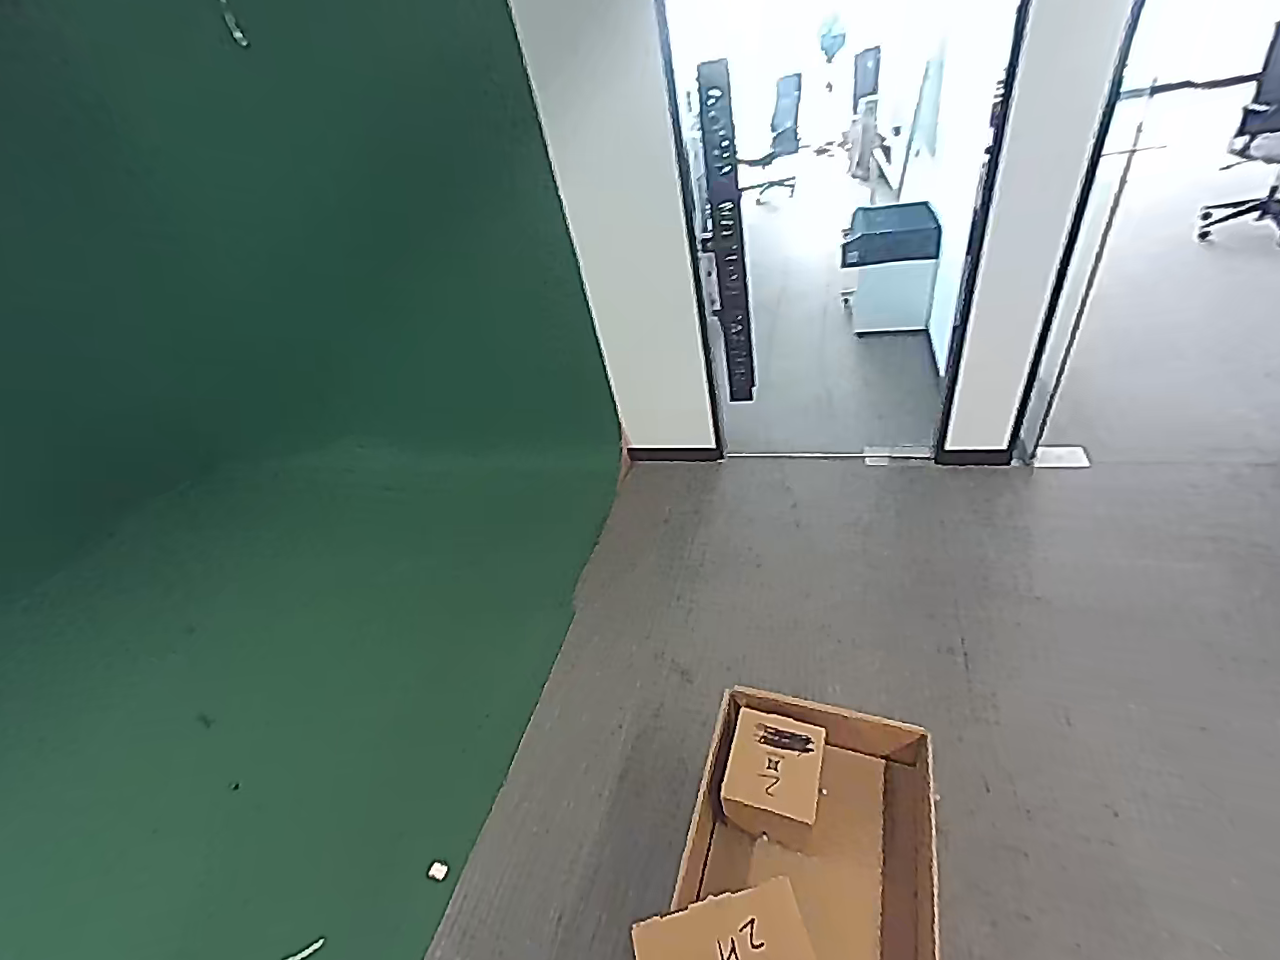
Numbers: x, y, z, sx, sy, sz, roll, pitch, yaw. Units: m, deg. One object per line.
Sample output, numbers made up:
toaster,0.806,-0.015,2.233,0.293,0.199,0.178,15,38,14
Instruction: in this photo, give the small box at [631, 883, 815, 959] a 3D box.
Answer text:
small box,0.097,0.530,0.527,0.168,0.176,0.179,-14,46,-5
